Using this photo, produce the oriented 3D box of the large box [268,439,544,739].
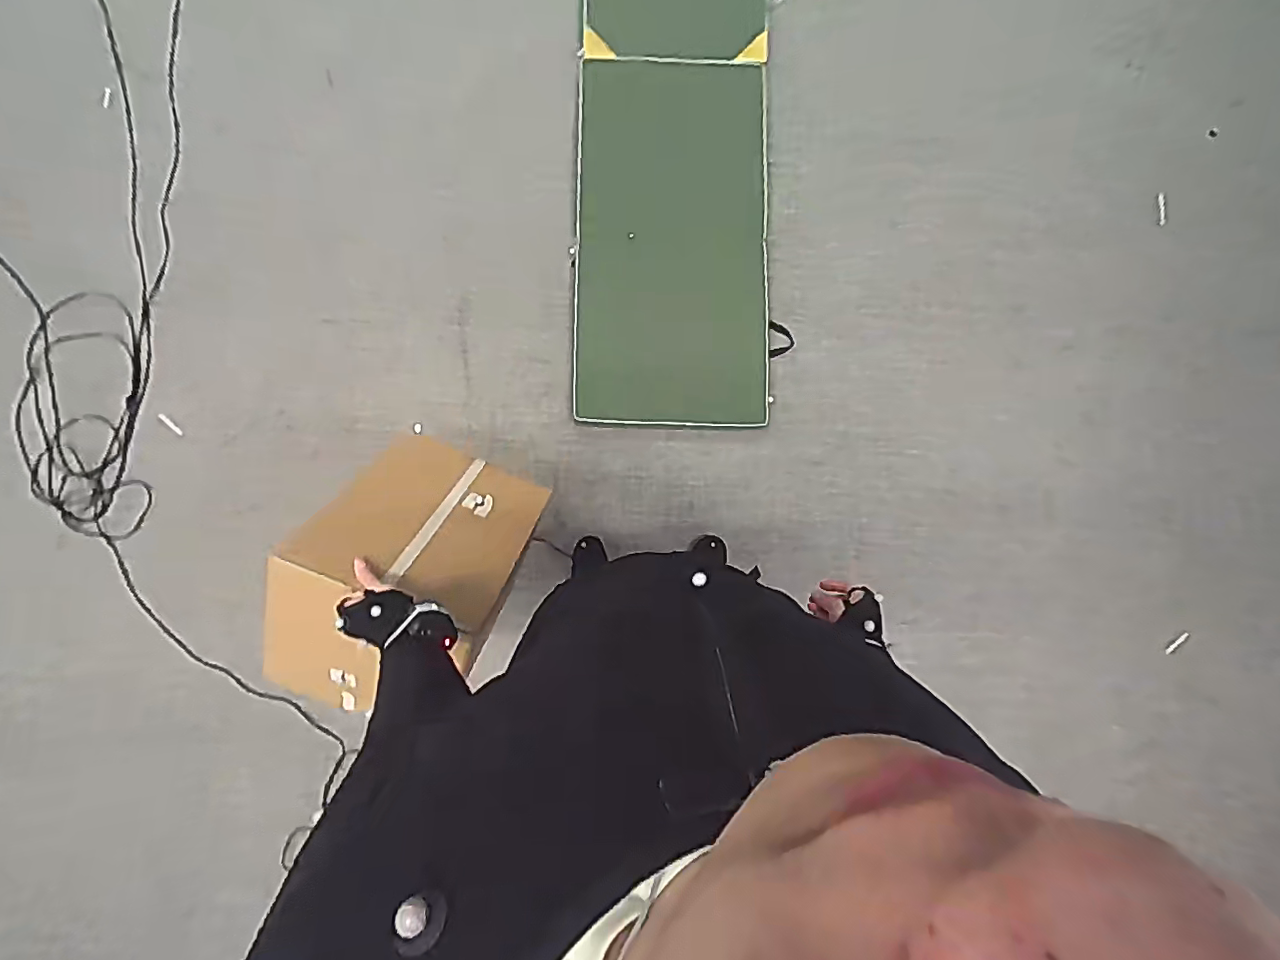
[{"bbox_3d":[-0.416,0.189,1.019,0.320,0.408,0.320,25,120,-7],"label":"large box"}]
